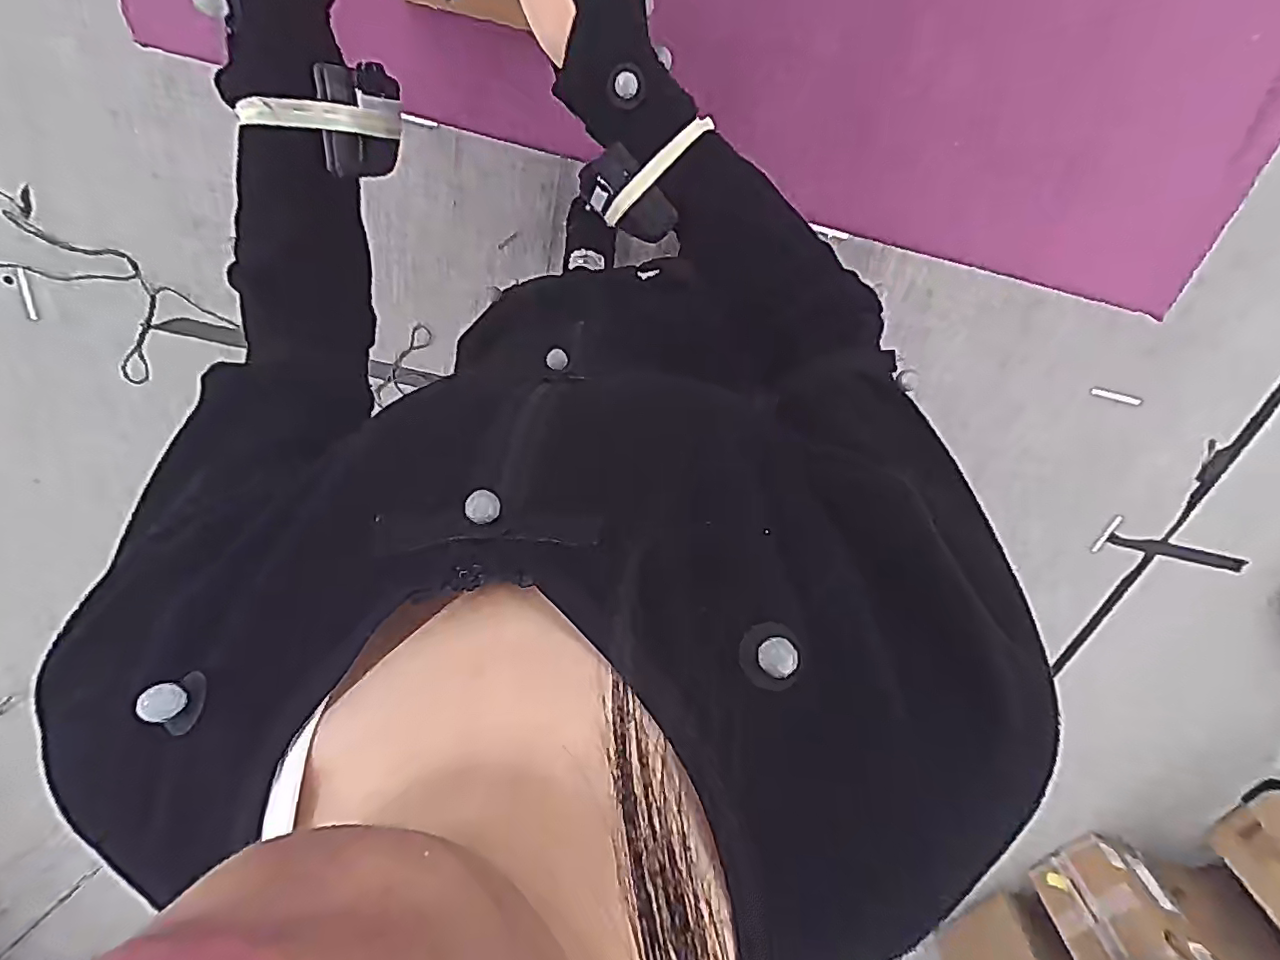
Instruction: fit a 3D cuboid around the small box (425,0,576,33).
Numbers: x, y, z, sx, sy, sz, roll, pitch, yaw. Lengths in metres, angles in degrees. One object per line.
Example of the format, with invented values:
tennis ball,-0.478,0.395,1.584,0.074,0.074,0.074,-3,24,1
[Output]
small box,-0.133,-0.494,0.433,0.179,0.176,0.168,10,118,-6
